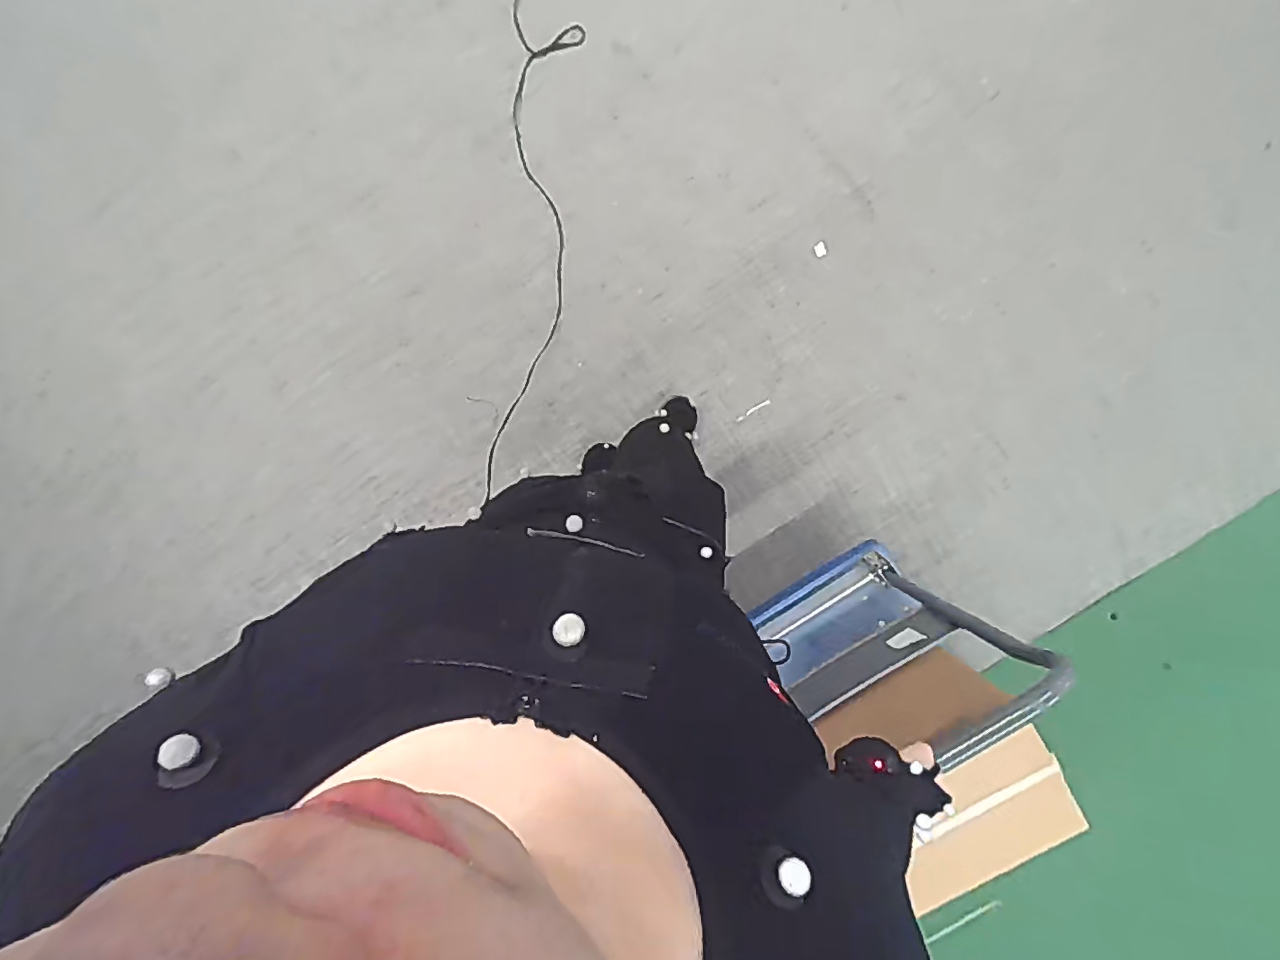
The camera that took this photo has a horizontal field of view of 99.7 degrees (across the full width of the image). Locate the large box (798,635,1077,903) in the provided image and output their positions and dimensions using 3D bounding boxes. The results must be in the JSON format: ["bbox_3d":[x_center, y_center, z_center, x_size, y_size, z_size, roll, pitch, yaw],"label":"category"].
[{"bbox_3d":[0.645,0.631,1.241,0.408,0.320,0.320,-31,94,4],"label":"large box"}]
